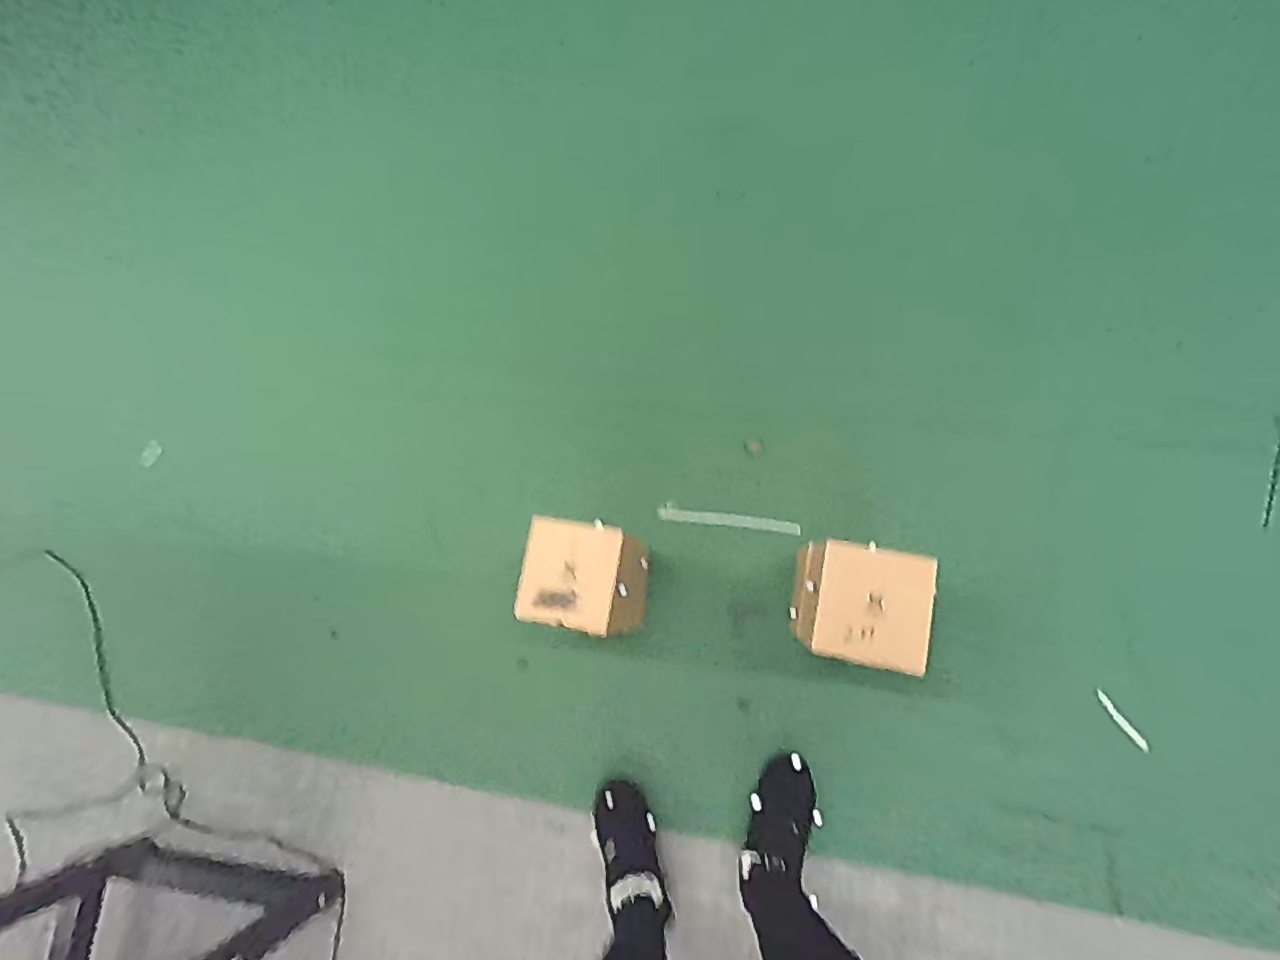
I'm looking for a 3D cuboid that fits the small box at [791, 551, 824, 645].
[{"bbox_3d":[0.398,0.243,1.064,0.168,0.176,0.179,8,82,11],"label":"small box"}]

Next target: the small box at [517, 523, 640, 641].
[{"bbox_3d":[-0.103,0.186,0.993,0.168,0.176,0.179,8,79,12],"label":"small box"}]

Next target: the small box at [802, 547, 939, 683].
[{"bbox_3d":[0.373,0.217,0.903,0.168,0.176,0.179,10,82,12],"label":"small box"}]
